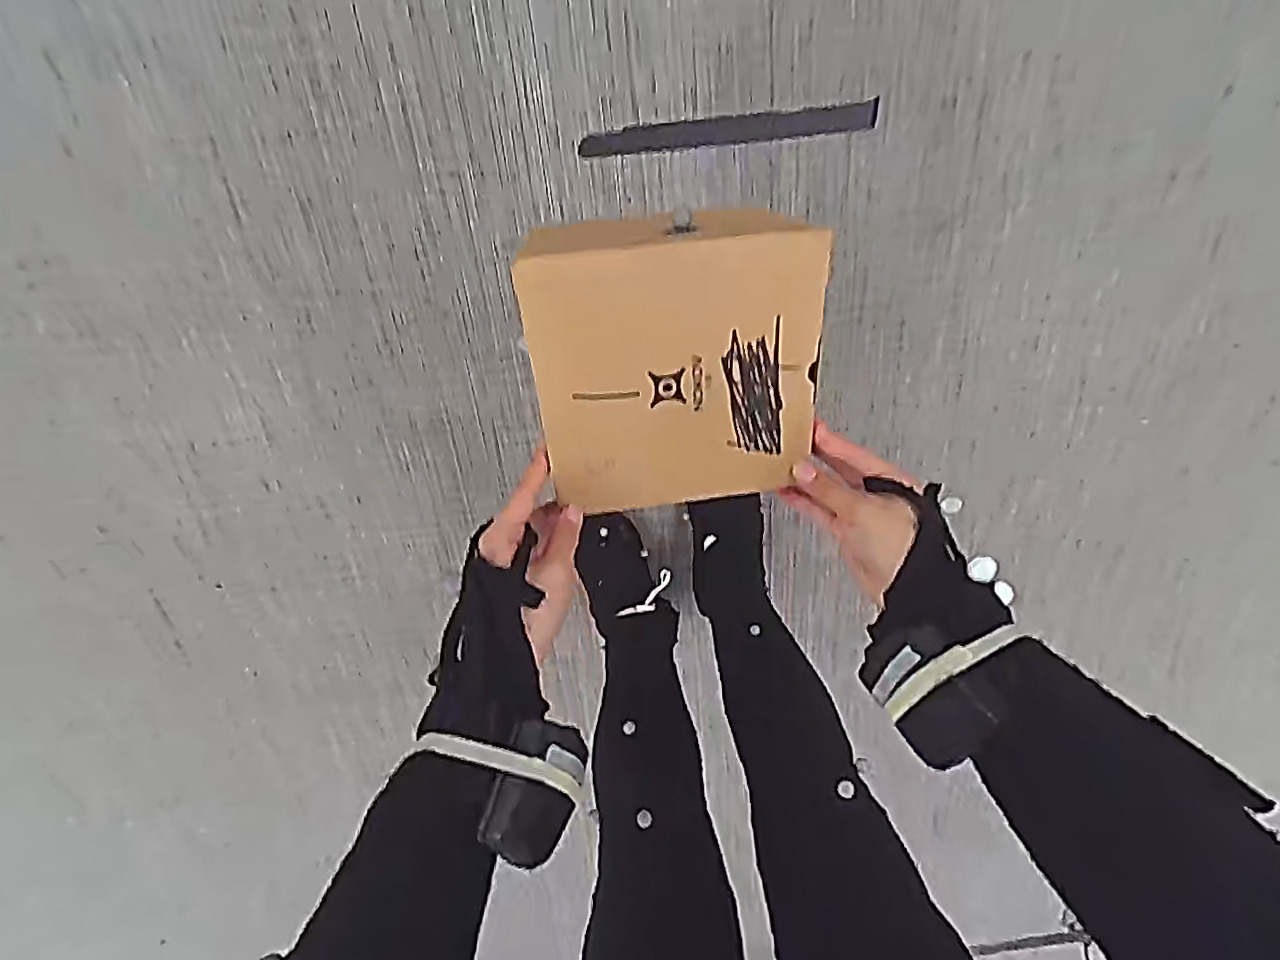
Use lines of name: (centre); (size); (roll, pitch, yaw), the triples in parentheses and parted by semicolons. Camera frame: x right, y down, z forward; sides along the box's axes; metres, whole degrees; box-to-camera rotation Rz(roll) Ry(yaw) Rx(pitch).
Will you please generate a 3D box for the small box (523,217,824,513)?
small box: (0.015, -0.097, 0.410); (0.179, 0.176, 0.168); (-7, 121, -3)
